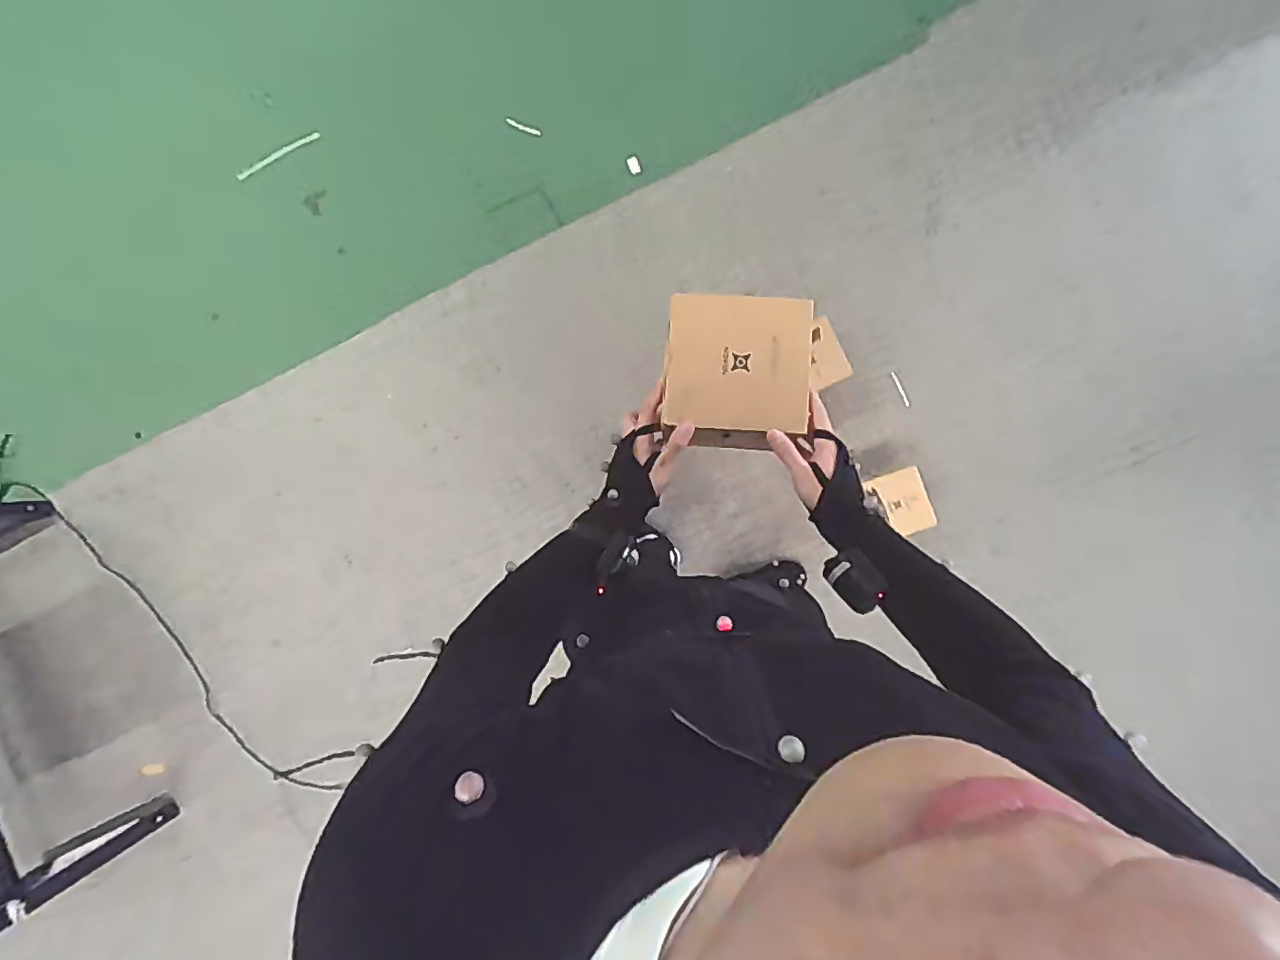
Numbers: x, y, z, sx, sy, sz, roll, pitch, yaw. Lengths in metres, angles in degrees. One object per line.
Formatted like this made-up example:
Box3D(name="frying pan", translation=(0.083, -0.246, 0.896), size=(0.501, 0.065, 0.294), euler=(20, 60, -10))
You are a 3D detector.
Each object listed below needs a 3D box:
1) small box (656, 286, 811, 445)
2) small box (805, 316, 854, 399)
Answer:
Box3D(name="small box", translation=(0.116, -0.142, 0.723), size=(0.179, 0.176, 0.168), euler=(4, 86, 2))
Box3D(name="small box", translation=(0.461, -0.324, 1.507), size=(0.168, 0.176, 0.179), euler=(-25, 90, 5))
